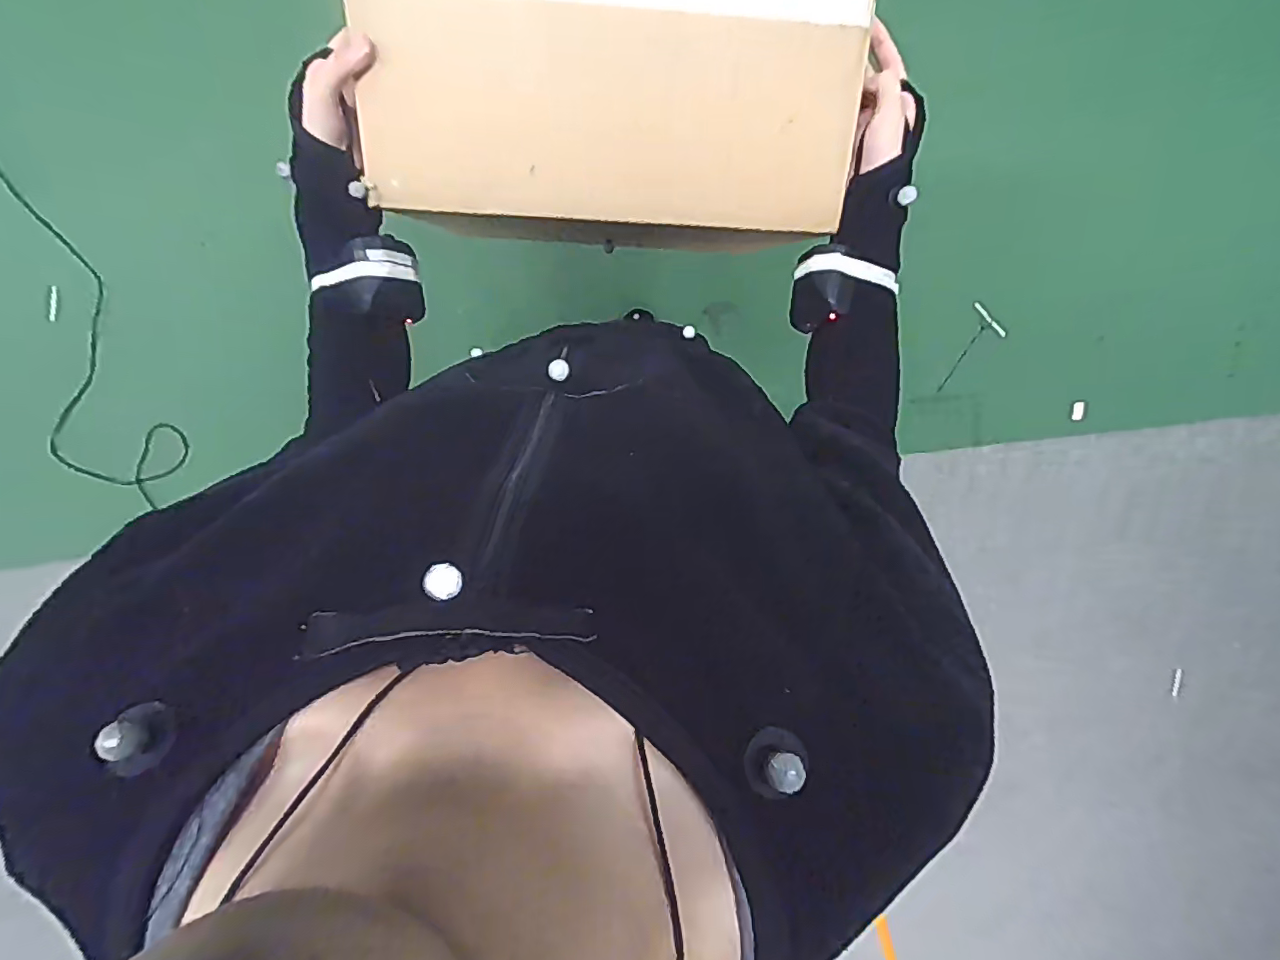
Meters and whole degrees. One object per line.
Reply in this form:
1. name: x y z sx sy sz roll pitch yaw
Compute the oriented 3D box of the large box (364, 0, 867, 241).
1. large box: -0.022 -0.430 0.565 0.408 0.320 0.320 2 109 -4
